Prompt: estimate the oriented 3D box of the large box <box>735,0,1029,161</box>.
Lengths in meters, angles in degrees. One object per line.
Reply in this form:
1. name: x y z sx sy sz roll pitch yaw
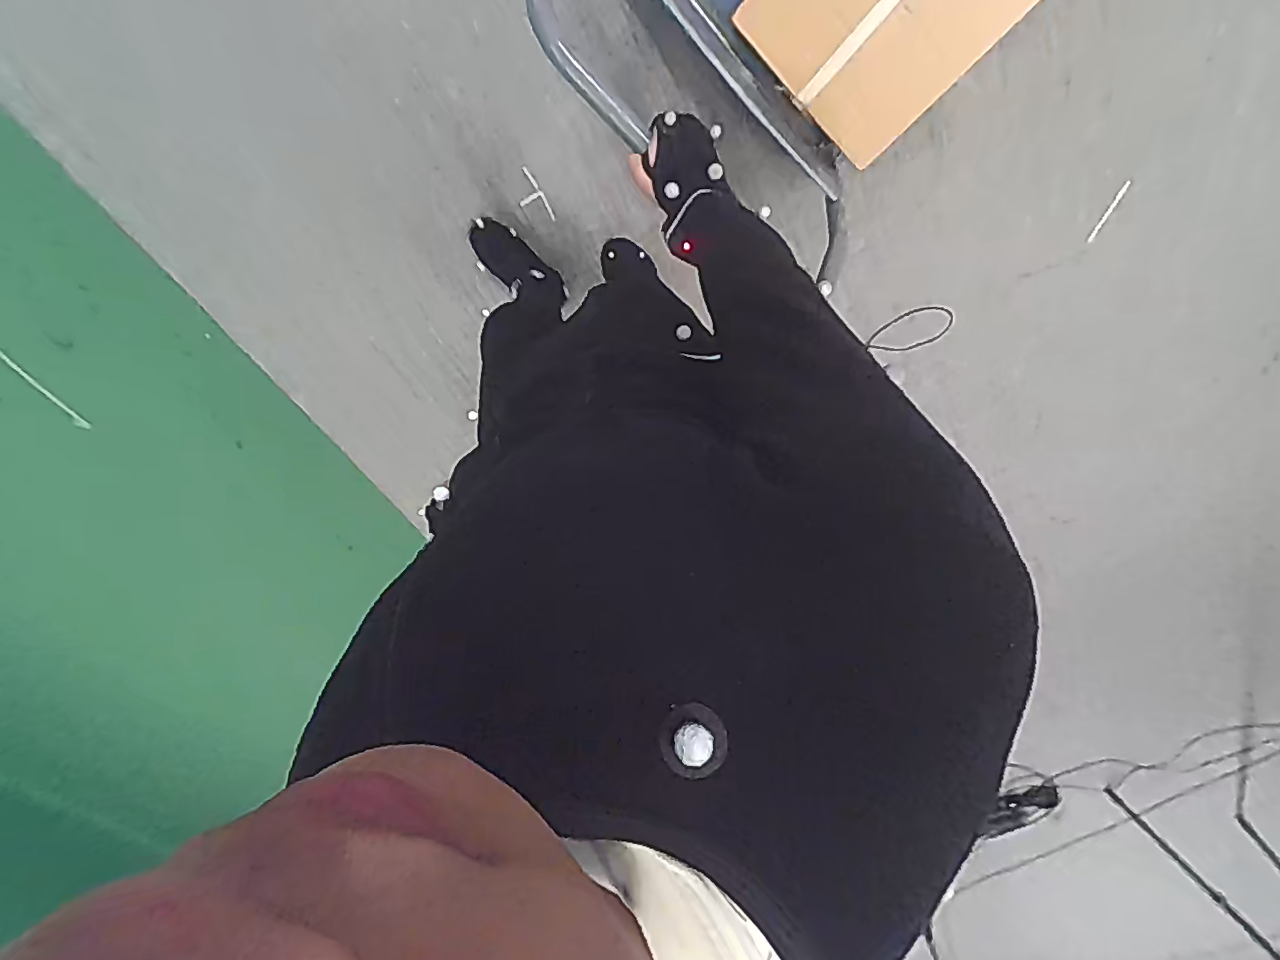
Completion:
1. large box: 0.400 -0.808 0.842 0.320 0.320 0.408 36 129 -20
